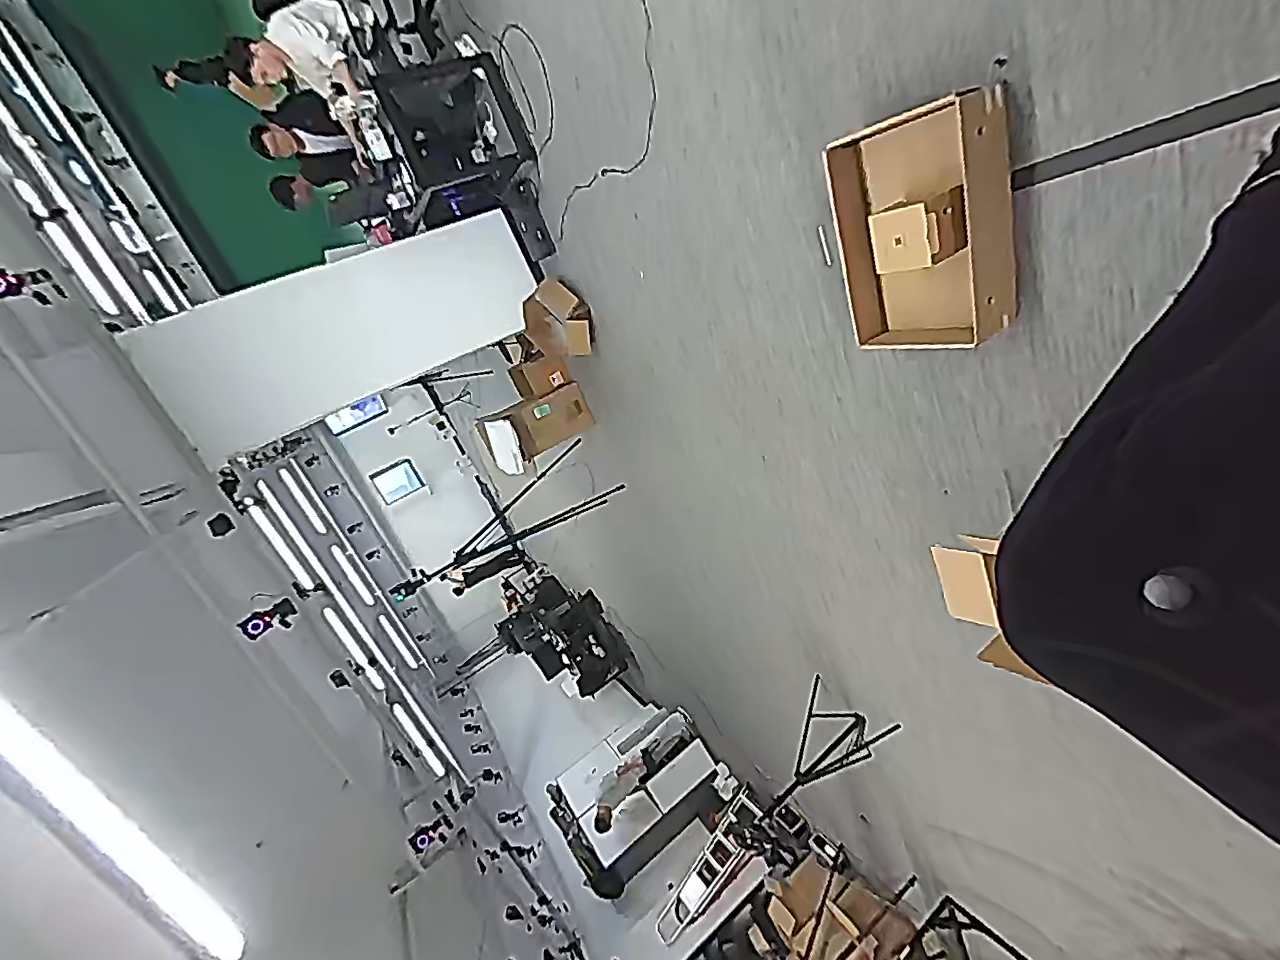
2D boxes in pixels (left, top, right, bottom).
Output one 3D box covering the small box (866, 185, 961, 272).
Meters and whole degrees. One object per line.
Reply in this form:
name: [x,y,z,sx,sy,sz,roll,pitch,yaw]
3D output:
small box: [0.769,-0.700,1.506,0.179,0.176,0.168,22,138,57]
